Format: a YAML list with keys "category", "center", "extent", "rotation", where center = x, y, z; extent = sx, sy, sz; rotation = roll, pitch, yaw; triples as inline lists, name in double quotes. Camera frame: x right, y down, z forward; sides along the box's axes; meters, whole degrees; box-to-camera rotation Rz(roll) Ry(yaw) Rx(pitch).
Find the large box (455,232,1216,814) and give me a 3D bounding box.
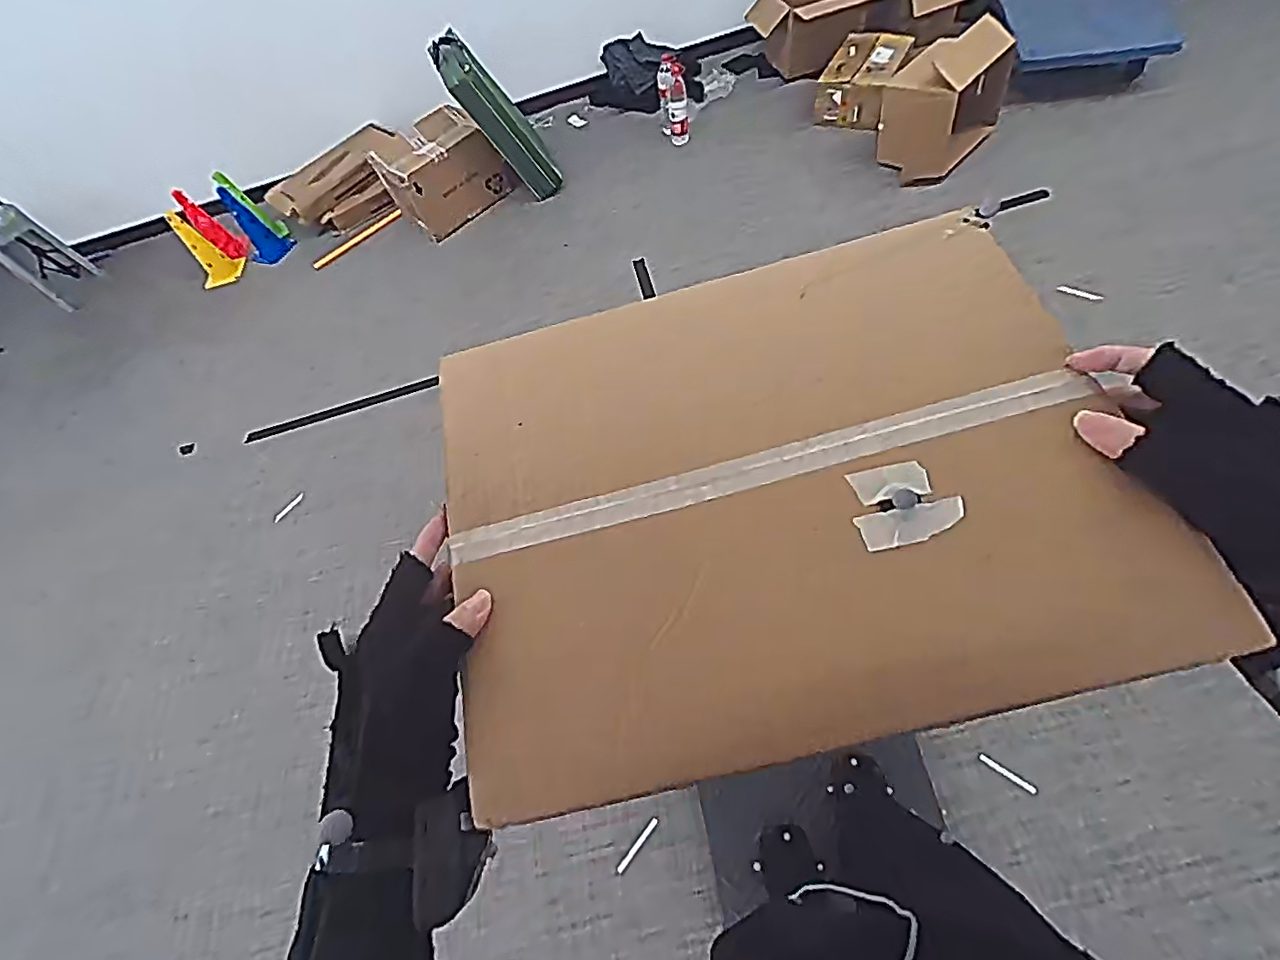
- category: "large box"
  center: [0.099, 0.057, 0.485]
  extent: [0.408, 0.320, 0.320]
  rotation: [-15, 66, 2]
